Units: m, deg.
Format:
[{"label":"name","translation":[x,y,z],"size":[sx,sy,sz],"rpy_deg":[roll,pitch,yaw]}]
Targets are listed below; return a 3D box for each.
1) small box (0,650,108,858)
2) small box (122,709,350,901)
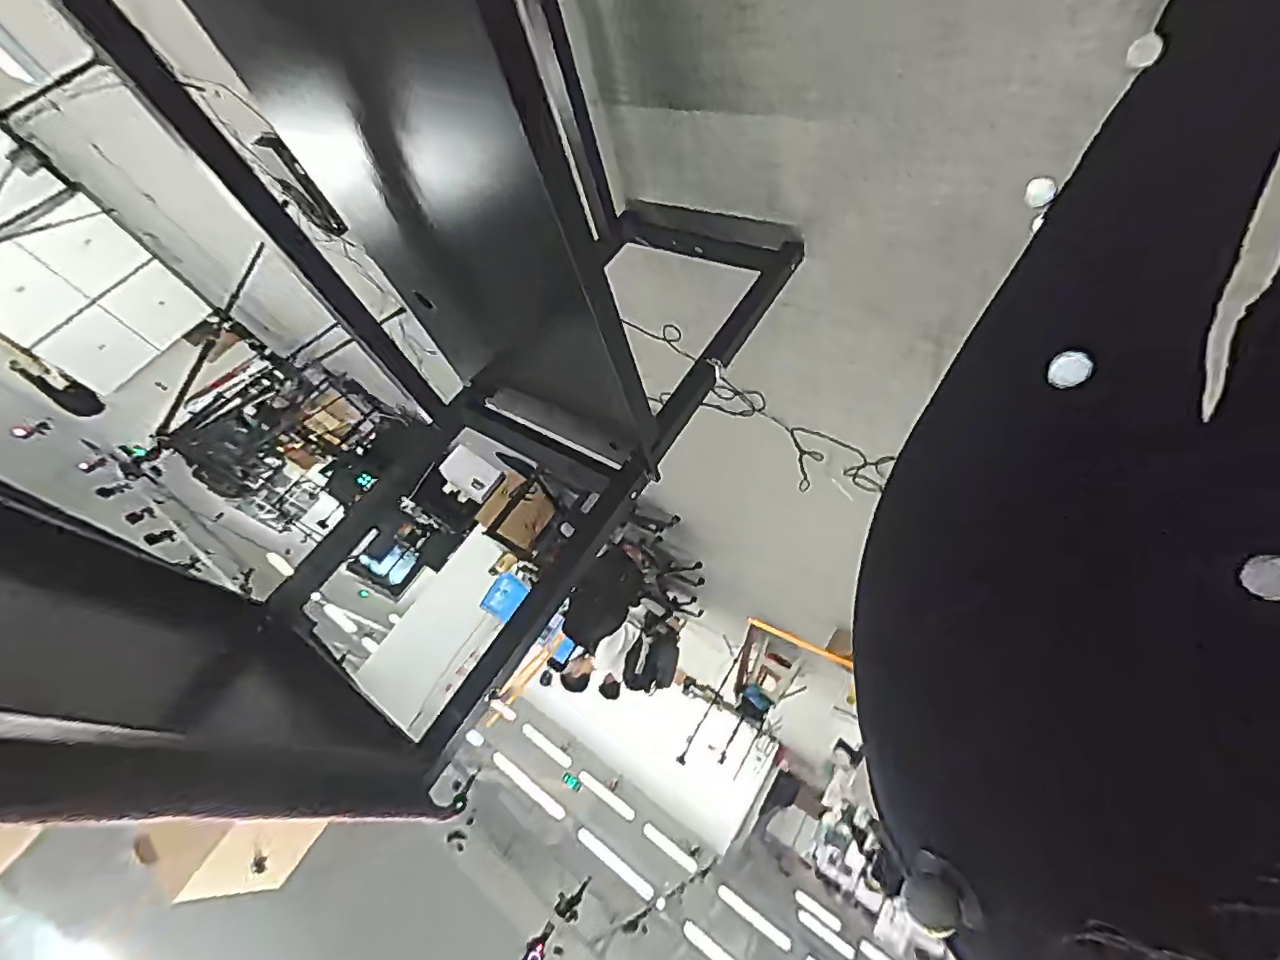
[{"label":"small box","translation":[-0.673,0.267,0.505],"size":[0.168,0.176,0.179],"rpy_deg":[27,159,28]},{"label":"small box","translation":[-0.576,0.465,0.794],"size":[0.168,0.176,0.179],"rpy_deg":[24,157,27]}]
